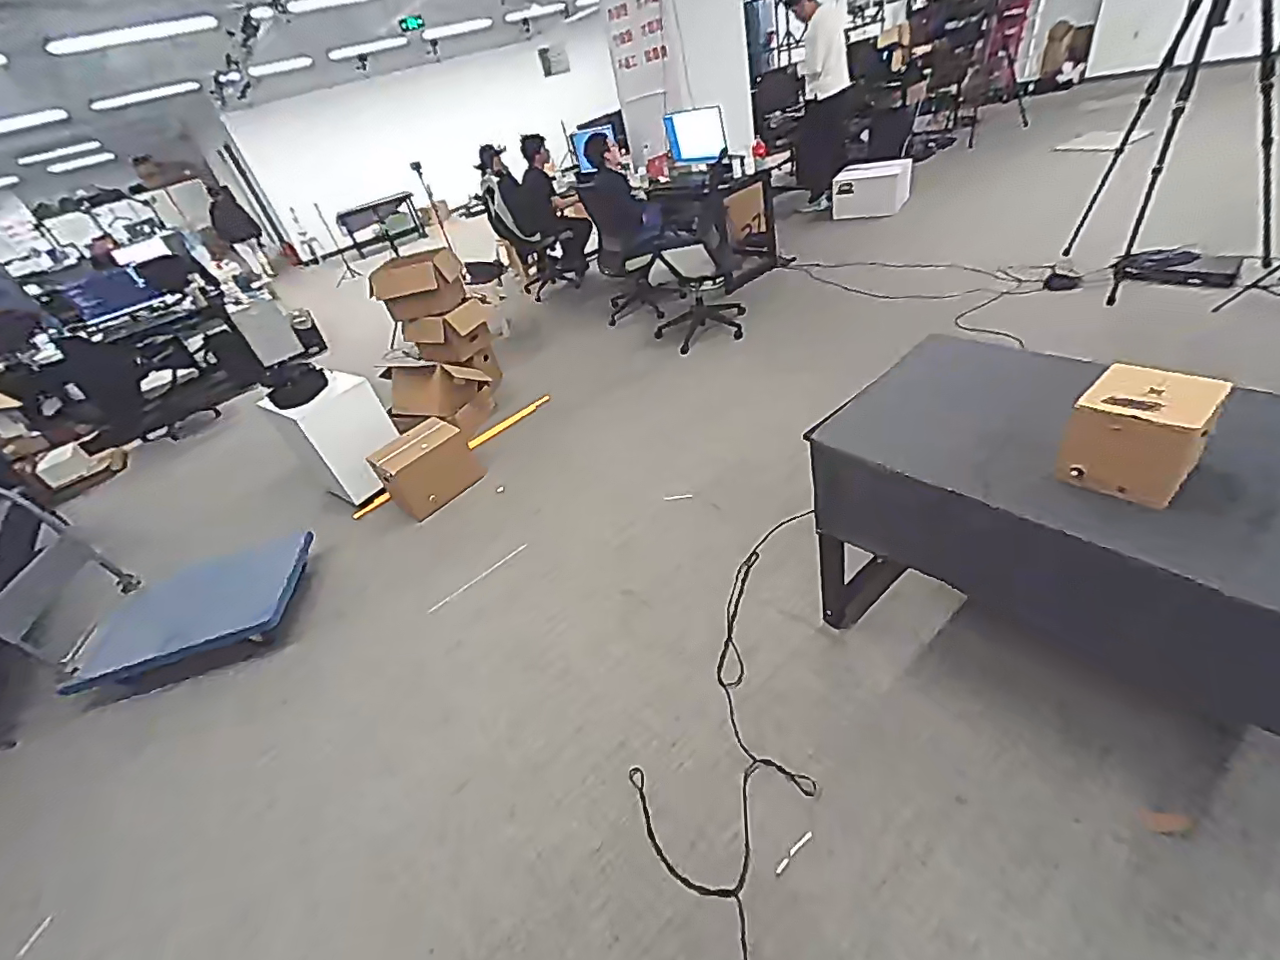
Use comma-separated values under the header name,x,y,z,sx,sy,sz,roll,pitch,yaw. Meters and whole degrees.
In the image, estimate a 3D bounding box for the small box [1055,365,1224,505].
name,x,y,z,sx,sy,sz,roll,pitch,yaw
small box,0.890,-0.082,0.979,0.179,0.176,0.168,-34,40,-24
